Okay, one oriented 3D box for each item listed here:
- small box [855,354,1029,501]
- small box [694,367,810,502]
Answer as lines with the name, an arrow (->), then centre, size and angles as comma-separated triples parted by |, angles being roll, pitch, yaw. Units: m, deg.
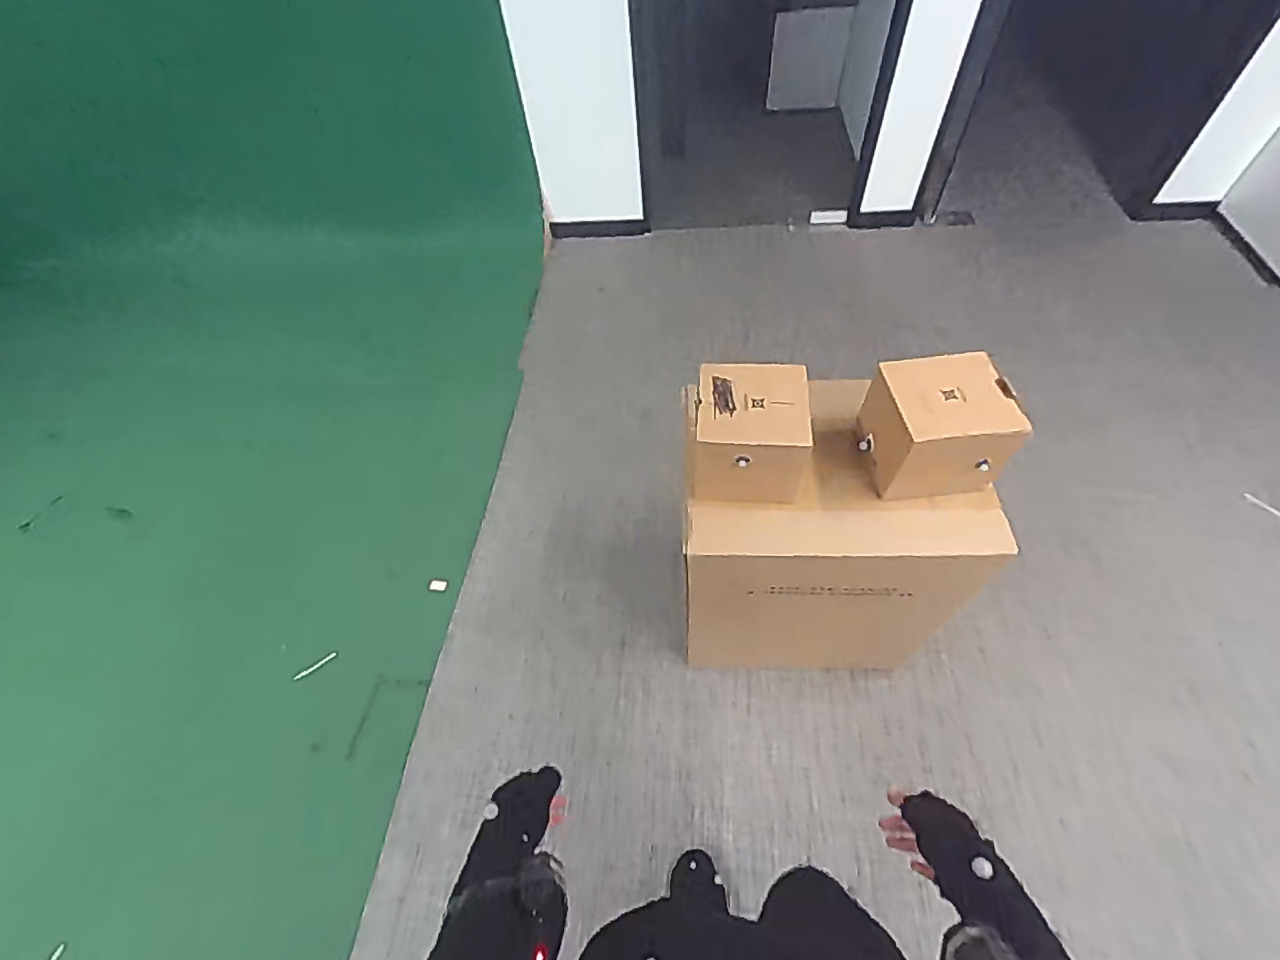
small box -> 0.483, -0.082, 0.897 | 0.179, 0.176, 0.168 | -8, 55, 2
small box -> 0.184, -0.073, 0.921 | 0.179, 0.176, 0.168 | 2, 58, 7
